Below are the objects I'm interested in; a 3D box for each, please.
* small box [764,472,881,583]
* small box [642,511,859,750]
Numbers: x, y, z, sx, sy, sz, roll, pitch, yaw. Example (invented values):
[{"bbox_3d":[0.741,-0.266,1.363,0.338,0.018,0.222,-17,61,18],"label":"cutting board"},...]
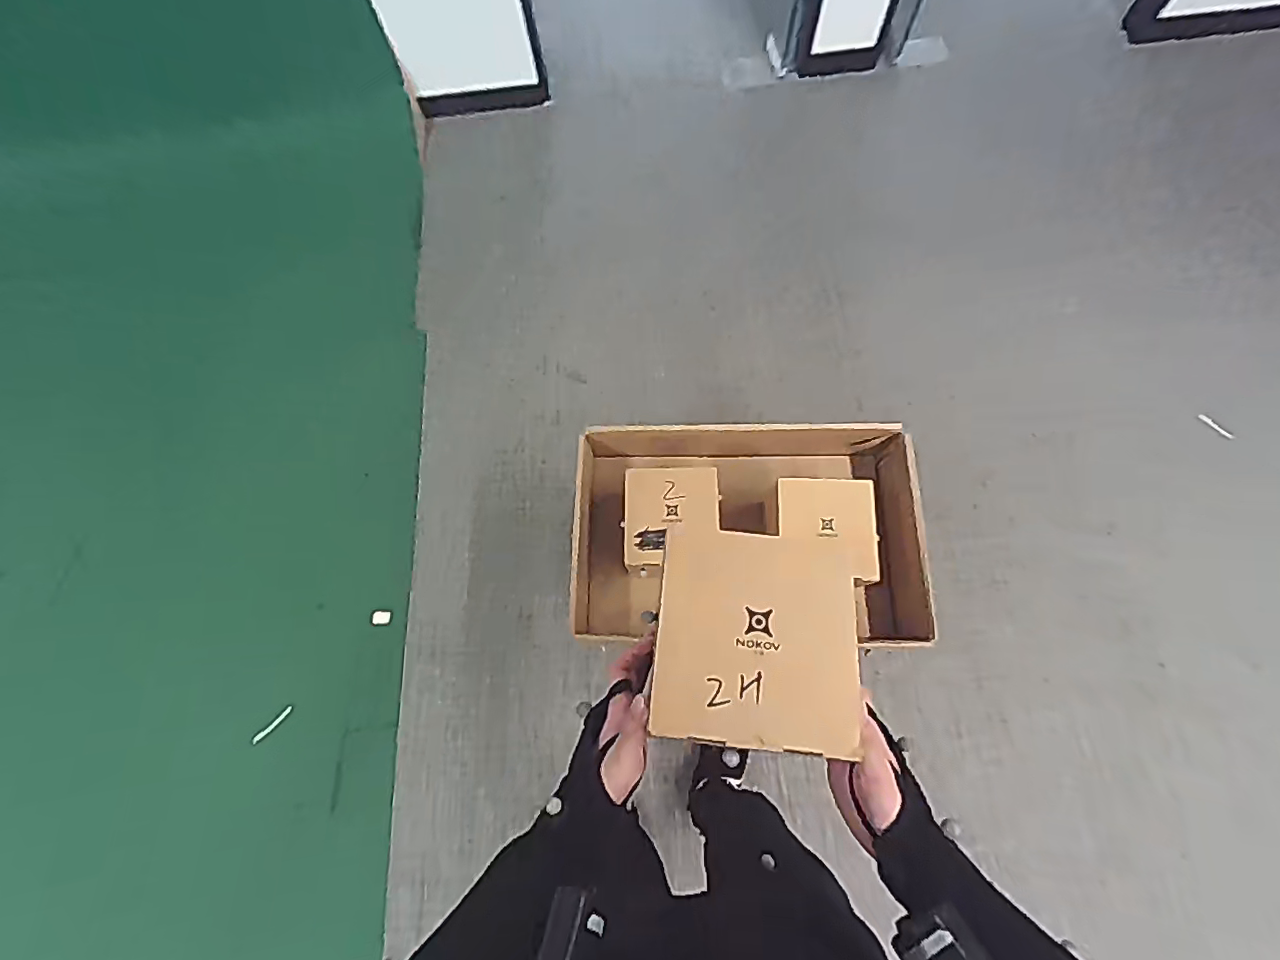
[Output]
[{"bbox_3d":[0.322,0.094,0.988,0.168,0.176,0.179,1,74,4],"label":"small box"},{"bbox_3d":[0.092,0.149,0.512,0.168,0.176,0.179,6,64,3],"label":"small box"}]
